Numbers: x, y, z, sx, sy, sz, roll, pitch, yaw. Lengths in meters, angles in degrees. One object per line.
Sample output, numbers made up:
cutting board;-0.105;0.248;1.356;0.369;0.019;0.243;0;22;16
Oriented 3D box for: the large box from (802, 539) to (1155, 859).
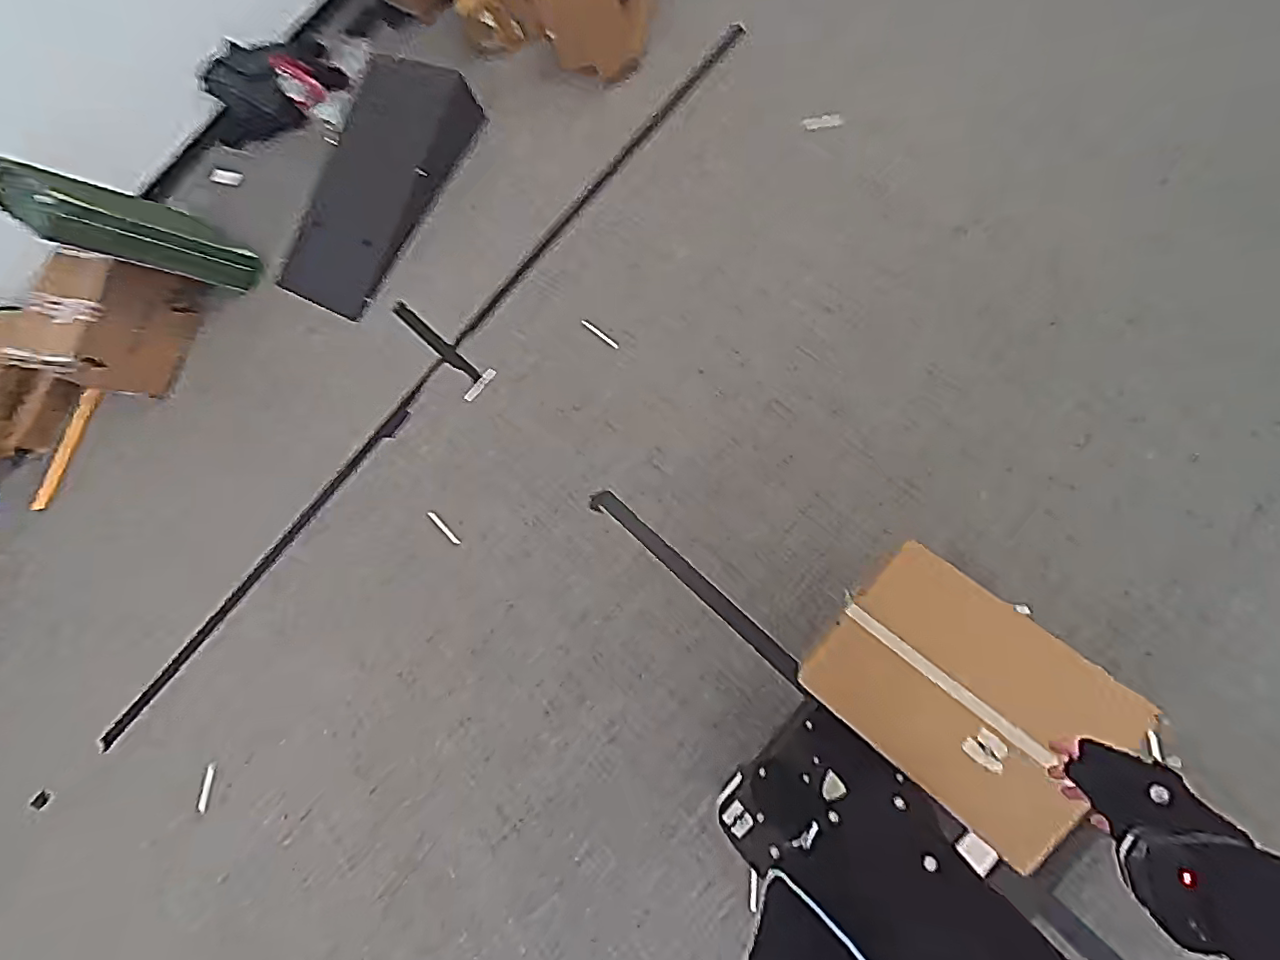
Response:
large box;0.553;0.353;0.995;0.408;0.320;0.320;38;94;19
